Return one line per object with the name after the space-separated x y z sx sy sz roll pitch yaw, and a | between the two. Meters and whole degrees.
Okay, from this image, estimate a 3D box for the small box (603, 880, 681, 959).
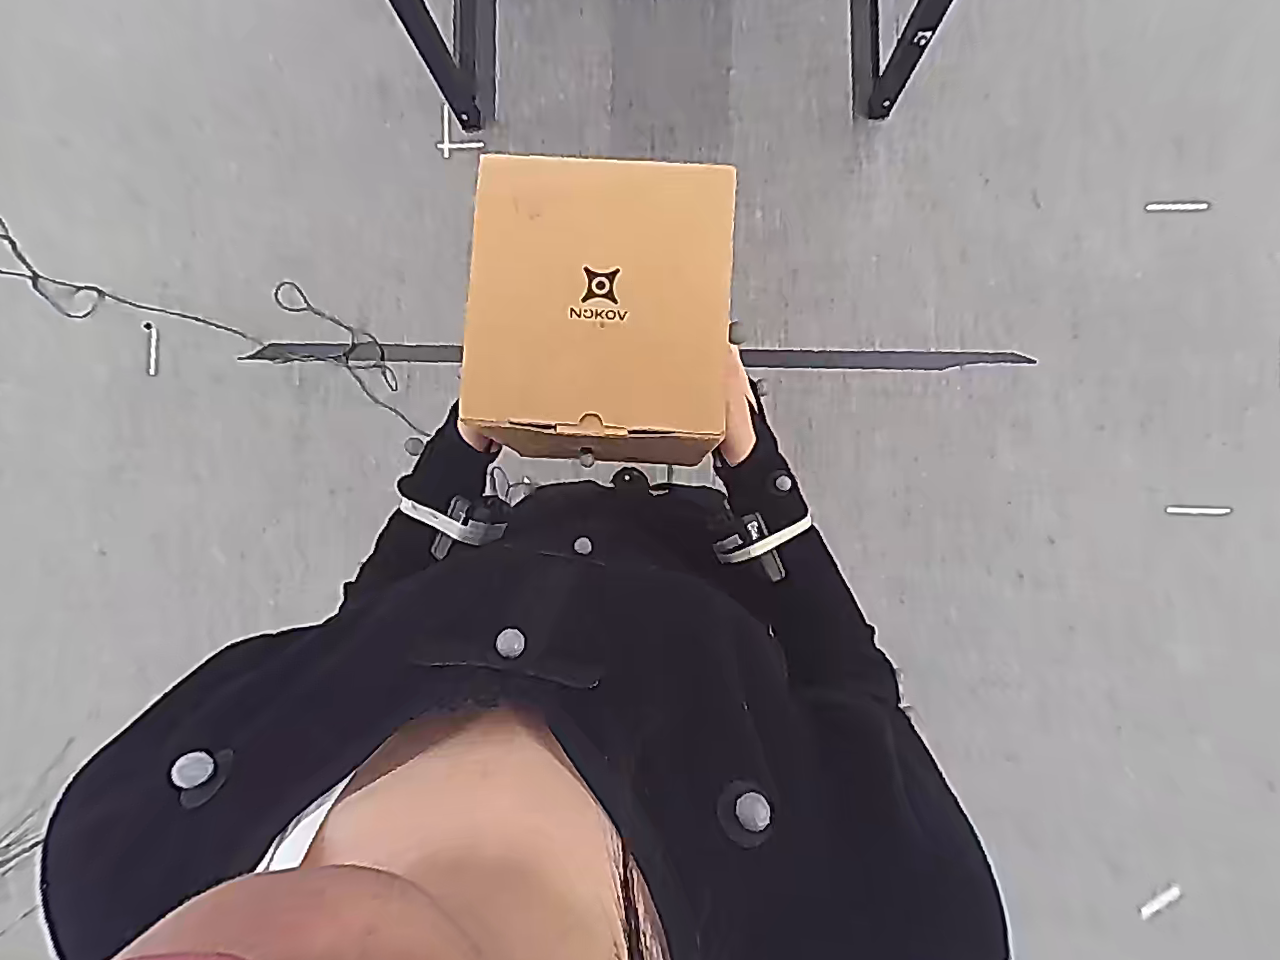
0.002 1.167 1.379 0.179 0.176 0.168 9 89 2 | small box

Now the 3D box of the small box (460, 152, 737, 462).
-0.025 -0.113 0.418 0.168 0.176 0.179 3 87 0 | small box
